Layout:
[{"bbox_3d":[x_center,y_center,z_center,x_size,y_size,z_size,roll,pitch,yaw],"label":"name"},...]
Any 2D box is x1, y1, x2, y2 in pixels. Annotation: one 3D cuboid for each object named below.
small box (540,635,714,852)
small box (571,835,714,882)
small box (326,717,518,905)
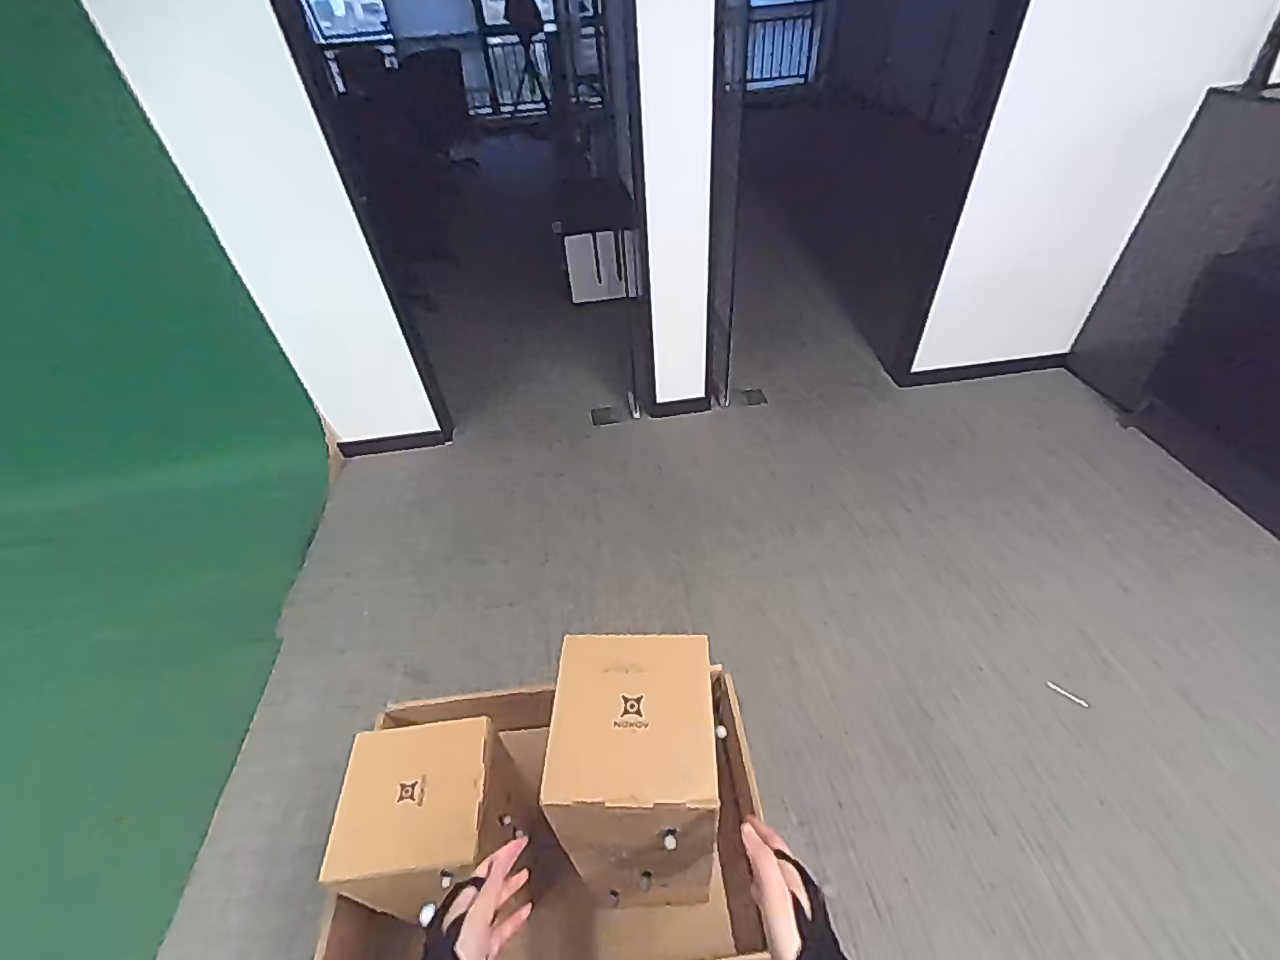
[{"bbox_3d":[-0.003,0.295,0.606,0.168,0.176,0.179,-1,42,4],"label":"small box"},{"bbox_3d":[0.011,0.416,0.718,0.168,0.176,0.179,-2,44,3],"label":"small box"},{"bbox_3d":[-0.271,0.442,0.722,0.179,0.176,0.168,-7,43,-2],"label":"small box"}]
